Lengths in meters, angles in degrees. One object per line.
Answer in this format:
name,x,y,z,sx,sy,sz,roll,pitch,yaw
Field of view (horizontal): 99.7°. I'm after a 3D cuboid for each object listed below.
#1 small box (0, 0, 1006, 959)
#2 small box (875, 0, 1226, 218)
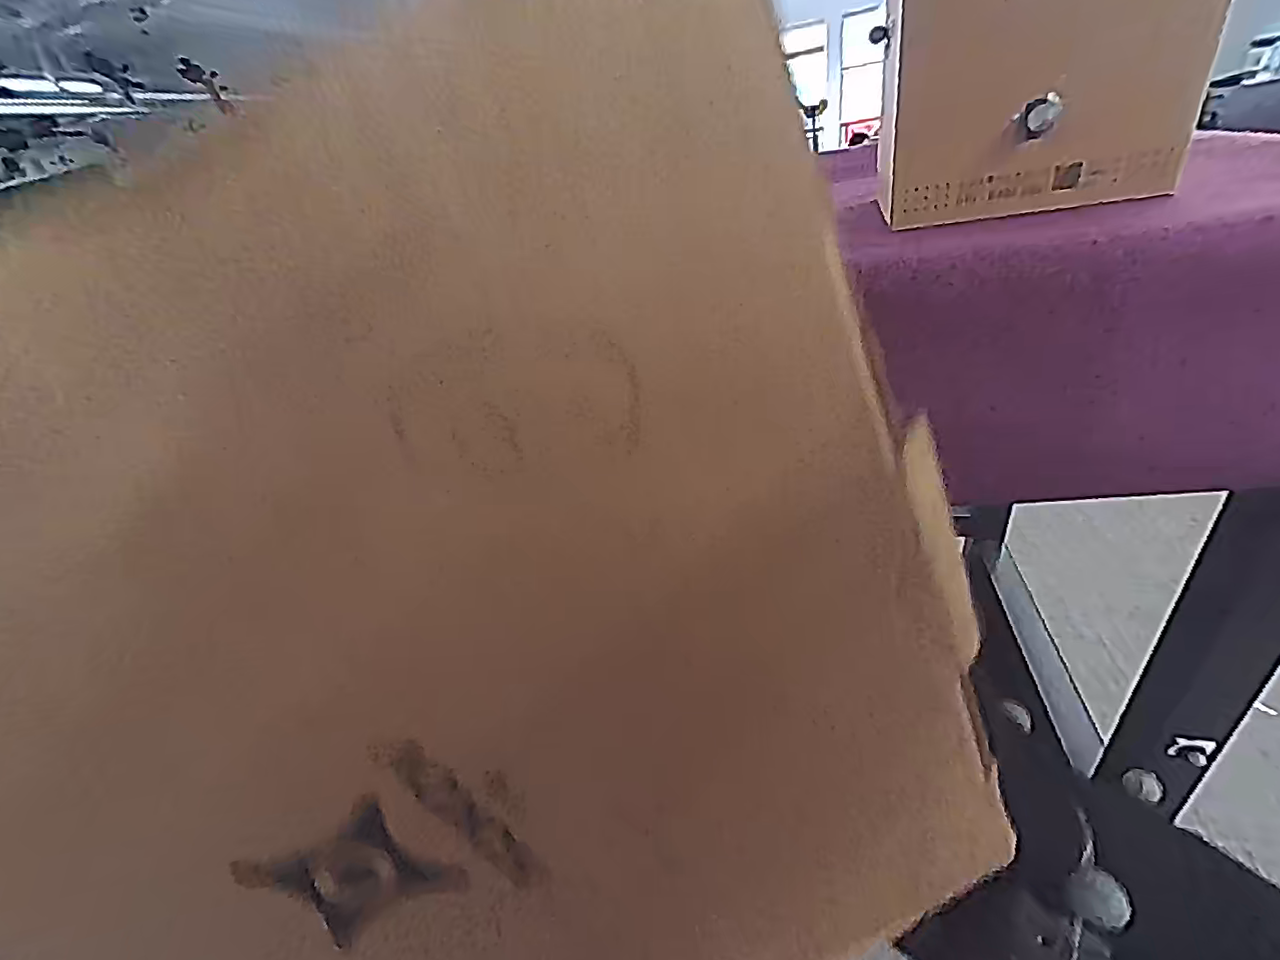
small box,-0.051,0.013,0.150,0.179,0.168,0.176,-28,23,1
small box,0.264,-0.296,0.386,0.168,0.176,0.179,0,33,20
